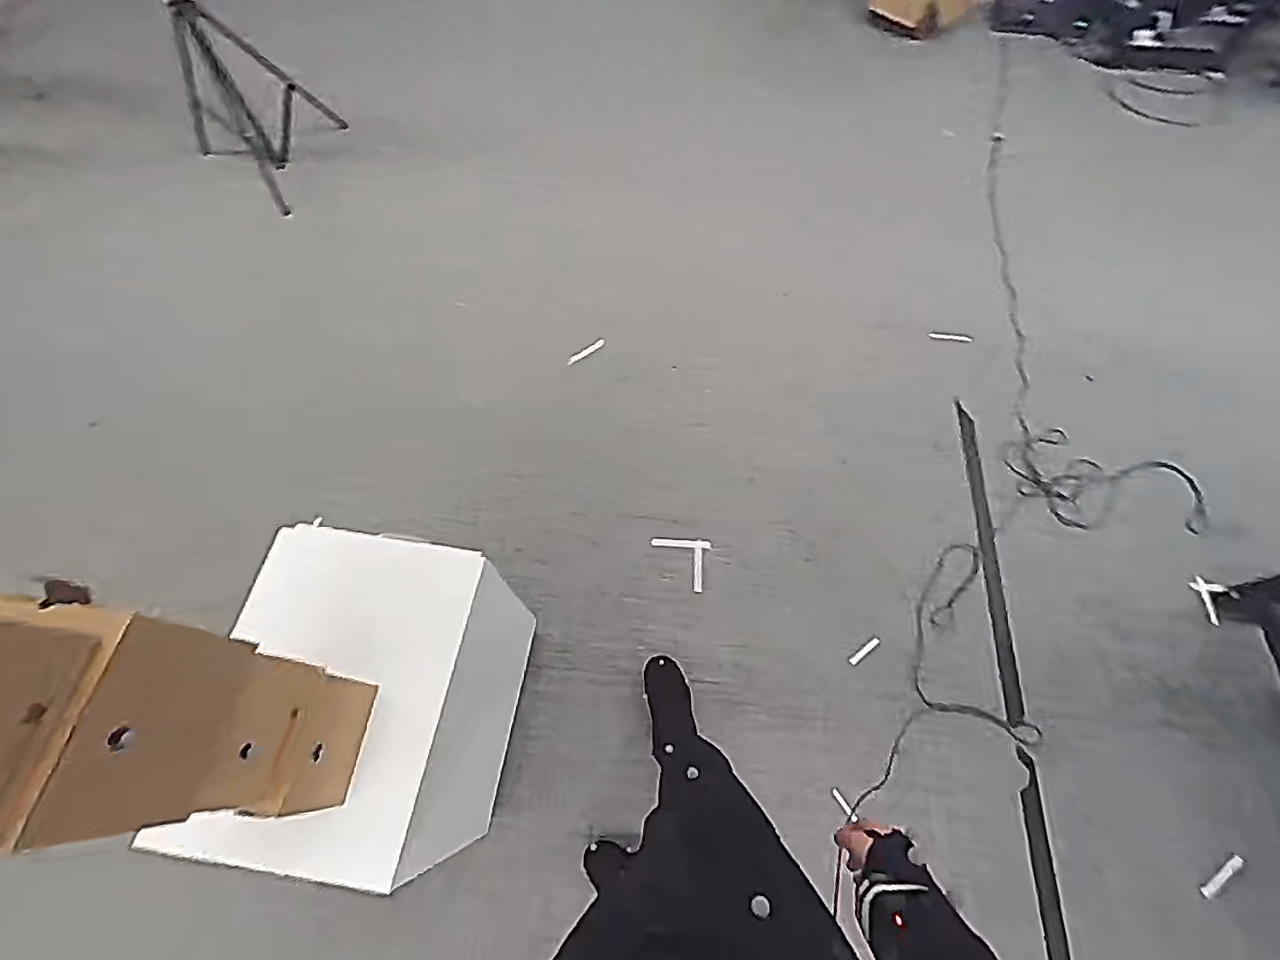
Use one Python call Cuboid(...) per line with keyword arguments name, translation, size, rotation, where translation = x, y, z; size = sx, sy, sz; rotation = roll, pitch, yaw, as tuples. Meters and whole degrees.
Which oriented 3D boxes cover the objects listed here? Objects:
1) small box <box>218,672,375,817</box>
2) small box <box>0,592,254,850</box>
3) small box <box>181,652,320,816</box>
Cuboid(name="small box", translation=(-0.520, 0.373, 0.790), size=(0.168, 0.176, 0.179), rotation=(6, 63, 2))
Cuboid(name="small box", translation=(-0.513, 0.216, 0.503), size=(0.168, 0.176, 0.179), rotation=(6, 64, 3))
Cuboid(name="small box", translation=(-0.531, 0.288, 0.651), size=(0.179, 0.176, 0.168), rotation=(6, 64, 4))
